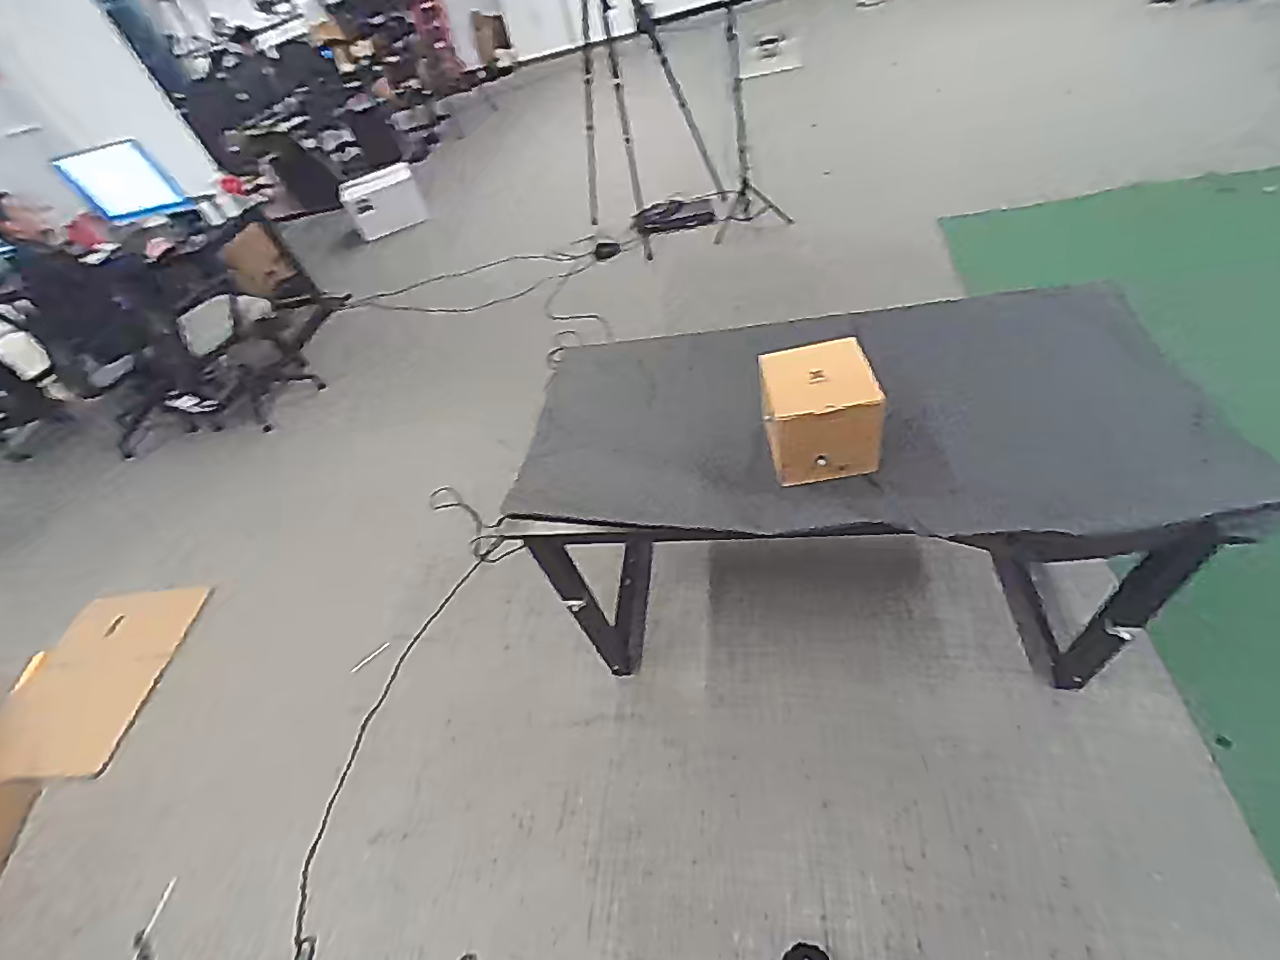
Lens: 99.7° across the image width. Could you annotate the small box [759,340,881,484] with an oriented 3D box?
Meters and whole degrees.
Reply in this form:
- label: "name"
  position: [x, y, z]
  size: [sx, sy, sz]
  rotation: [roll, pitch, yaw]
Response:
- label: "small box"
  position: [0.309, -0.118, 0.961]
  size: [0.168, 0.176, 0.179]
  rotation: [-9, 48, 8]
